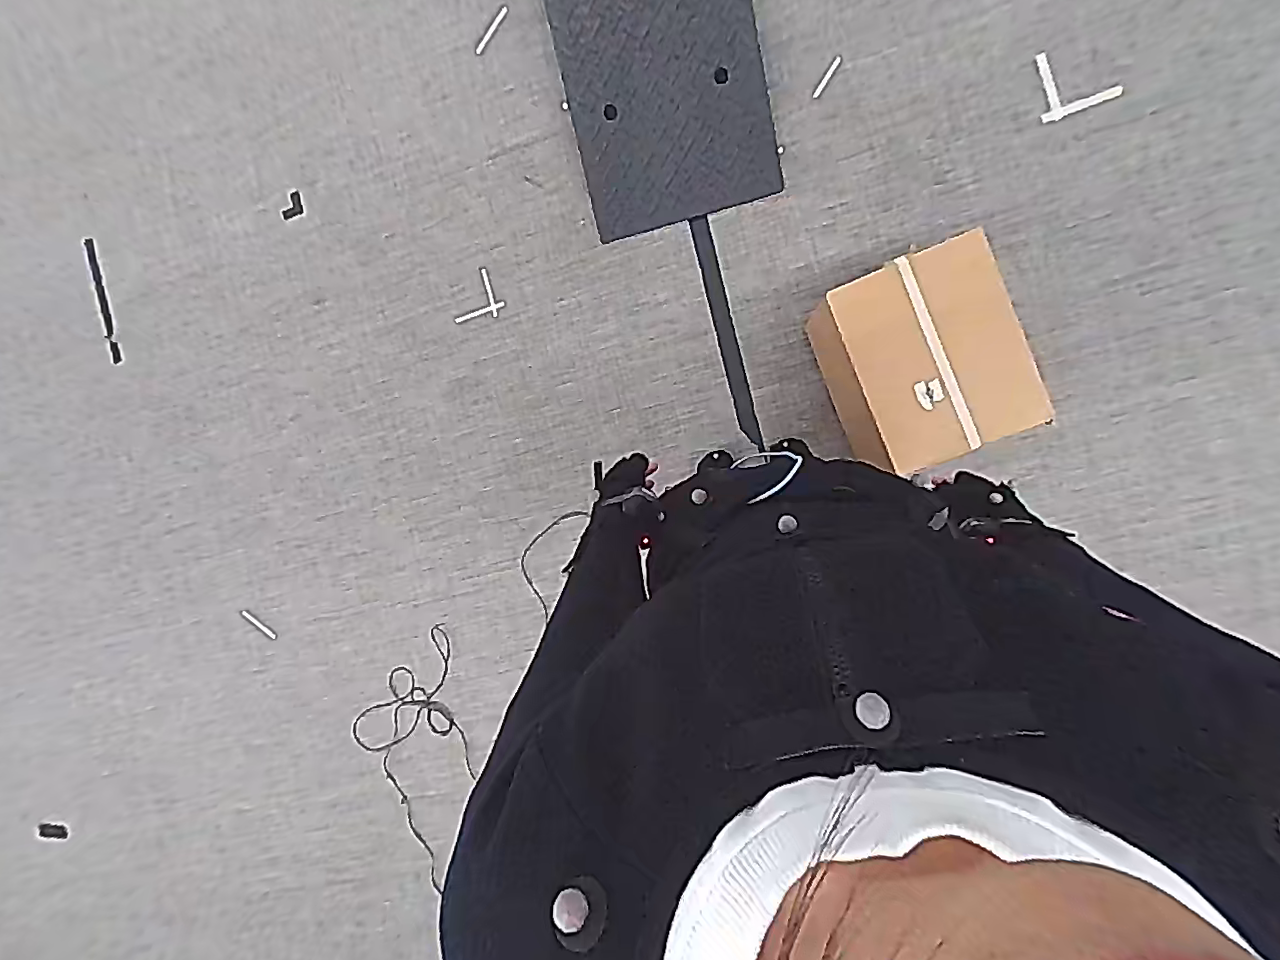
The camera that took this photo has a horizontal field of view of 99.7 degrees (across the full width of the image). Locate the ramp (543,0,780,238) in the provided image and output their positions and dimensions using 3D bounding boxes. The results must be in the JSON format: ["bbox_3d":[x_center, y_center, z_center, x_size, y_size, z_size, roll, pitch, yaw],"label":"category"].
[{"bbox_3d":[0.012,-1.171,1.319,0.509,0.206,0.991,-14,92,9],"label":"ramp"}]

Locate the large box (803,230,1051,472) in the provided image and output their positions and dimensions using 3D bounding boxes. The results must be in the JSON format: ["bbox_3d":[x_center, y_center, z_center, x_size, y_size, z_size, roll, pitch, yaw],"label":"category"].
[{"bbox_3d":[0.609,-0.263,1.221,0.320,0.320,0.408,-22,91,10],"label":"large box"}]
